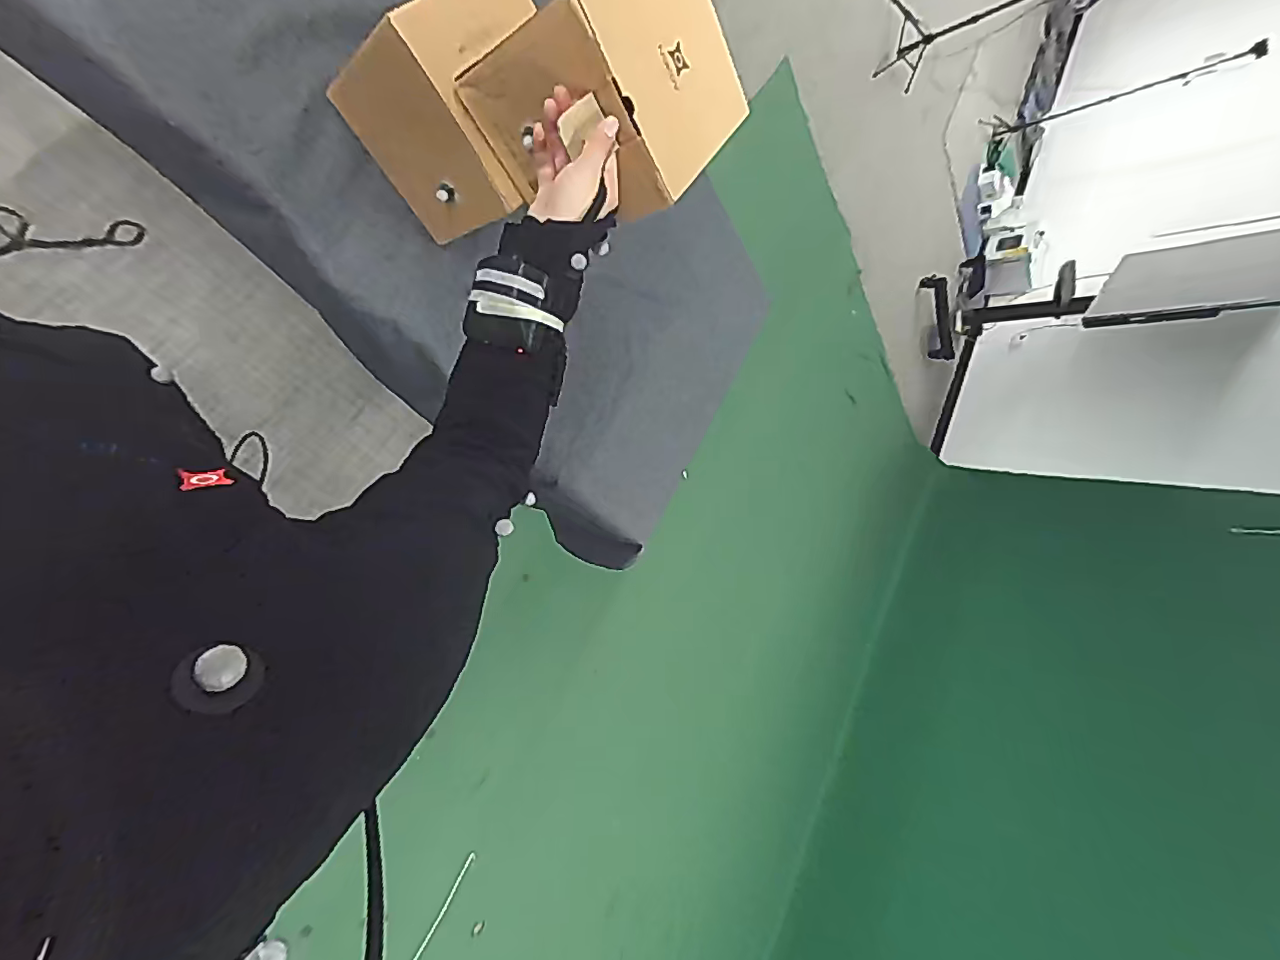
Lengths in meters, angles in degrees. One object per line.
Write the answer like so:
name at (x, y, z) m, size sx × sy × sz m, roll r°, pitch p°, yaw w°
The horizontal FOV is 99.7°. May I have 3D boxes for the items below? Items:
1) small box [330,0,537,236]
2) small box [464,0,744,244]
small box at (-0.189, -0.390, 0.588) m, size 0.168 × 0.176 × 0.179 m, roll -56°, pitch 130°, yaw -26°
small box at (-0.031, -0.359, 0.520) m, size 0.168 × 0.176 × 0.179 m, roll 53°, pitch 57°, yaw -37°
